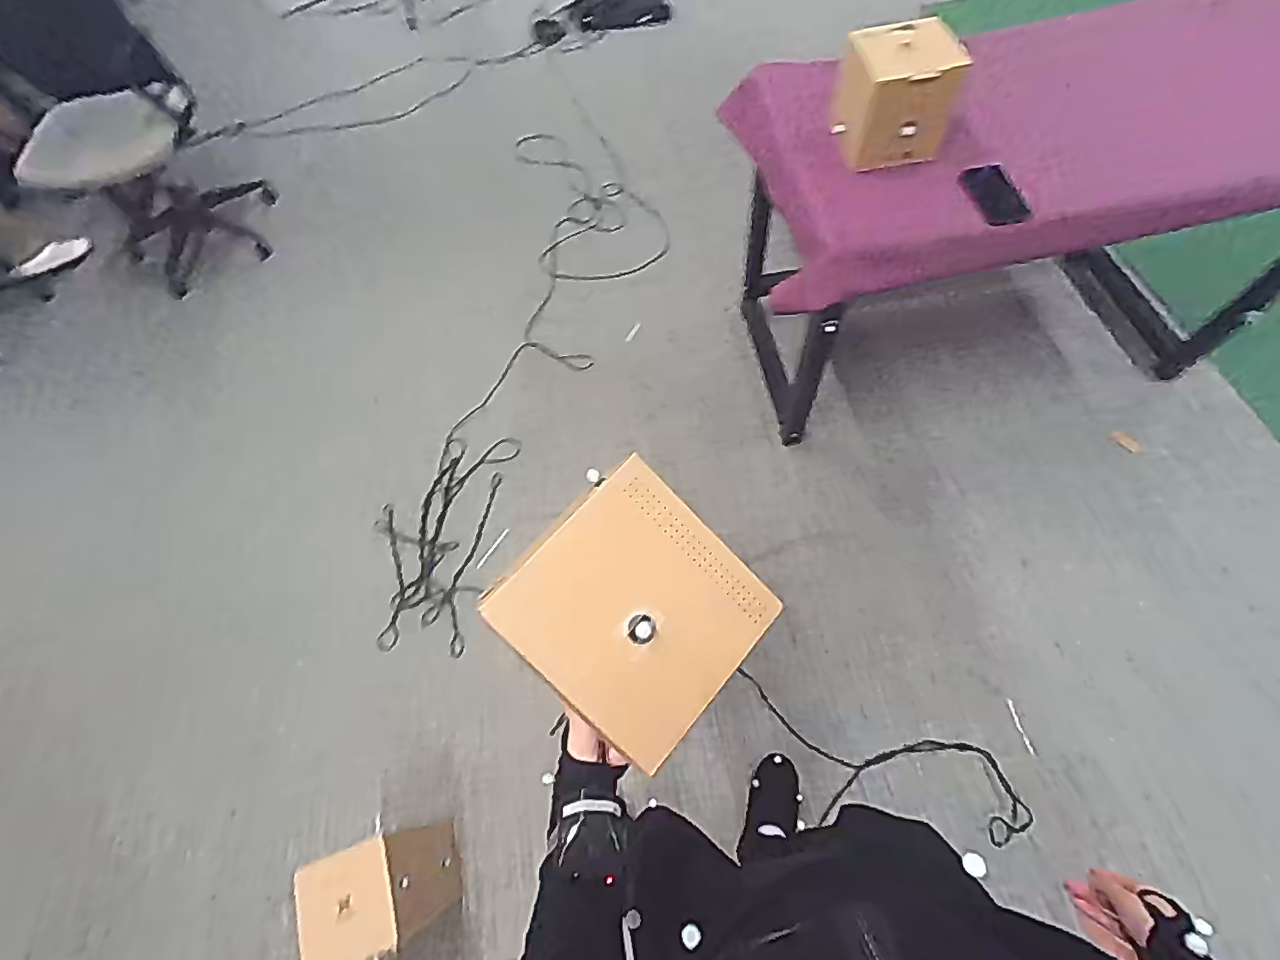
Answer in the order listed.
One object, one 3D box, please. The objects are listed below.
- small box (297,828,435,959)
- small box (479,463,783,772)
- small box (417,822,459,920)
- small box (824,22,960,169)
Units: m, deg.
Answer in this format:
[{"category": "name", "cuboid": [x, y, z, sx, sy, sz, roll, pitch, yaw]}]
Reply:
[{"category": "small box", "cuboid": [-0.505, 0.788, 1.013, 0.168, 0.176, 0.179, -21, 63, -6]}, {"category": "small box", "cuboid": [-0.015, 0.101, 0.473, 0.179, 0.168, 0.176, 45, 75, -4]}, {"category": "small box", "cuboid": [-0.503, 0.858, 1.161, 0.179, 0.176, 0.168, -18, 63, -3]}, {"category": "small box", "cuboid": [0.473, -0.731, 1.046, 0.168, 0.176, 0.179, -9, 63, 2]}]
